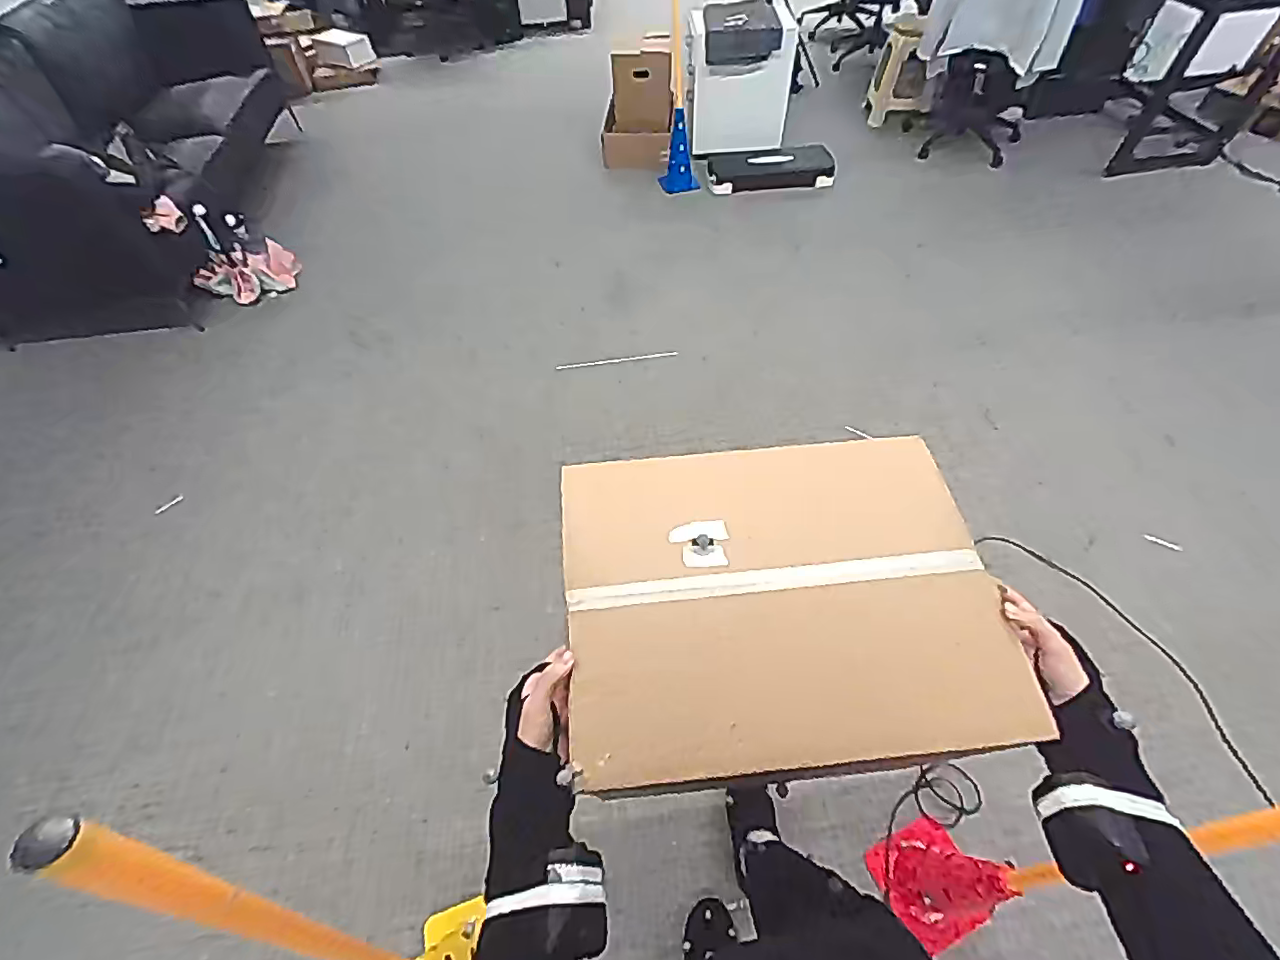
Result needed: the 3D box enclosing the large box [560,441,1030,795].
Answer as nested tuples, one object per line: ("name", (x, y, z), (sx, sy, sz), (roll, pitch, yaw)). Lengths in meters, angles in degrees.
("large box", (0.131, 0.183, 0.660), (0.408, 0.320, 0.320), (-6, 58, -2))
